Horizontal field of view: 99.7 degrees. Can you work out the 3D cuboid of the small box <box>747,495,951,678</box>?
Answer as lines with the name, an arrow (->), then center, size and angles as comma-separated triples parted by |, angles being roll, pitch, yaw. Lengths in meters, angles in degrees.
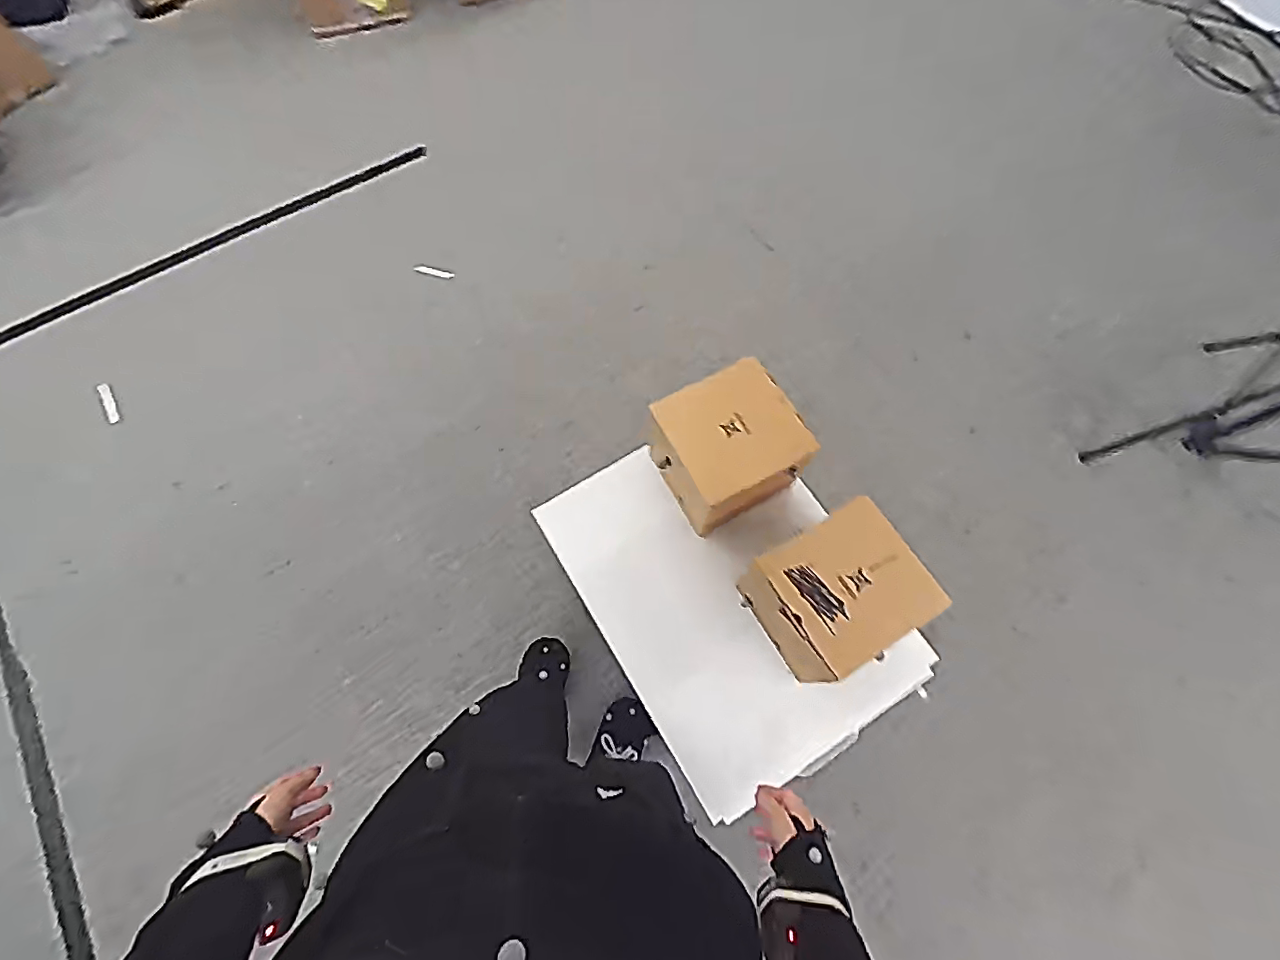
small box -> 0.260, 0.152, 0.729 | 0.179, 0.176, 0.168 | -29, 71, -10

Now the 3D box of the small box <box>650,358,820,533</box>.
small box -> 0.129, -0.042, 0.803 | 0.179, 0.176, 0.168 | -27, 72, -9
